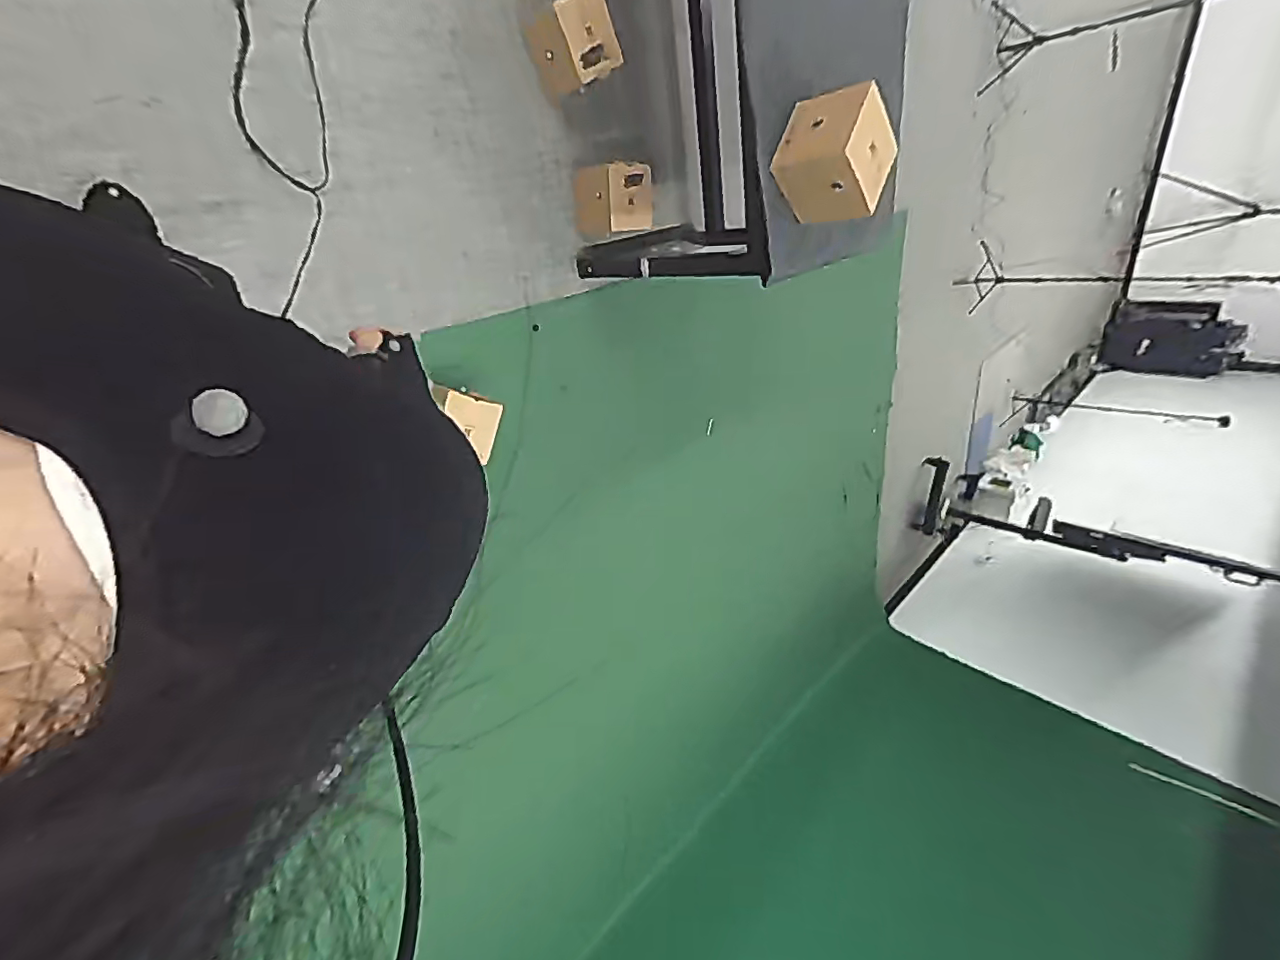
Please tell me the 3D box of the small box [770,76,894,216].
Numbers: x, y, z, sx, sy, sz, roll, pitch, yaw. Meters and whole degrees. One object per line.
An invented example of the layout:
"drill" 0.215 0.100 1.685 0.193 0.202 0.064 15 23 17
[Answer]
"small box" 0.398 -0.677 1.125 0.179 0.176 0.168 30 80 -46

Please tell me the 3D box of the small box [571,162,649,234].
"small box" -0.093 -0.851 1.640 0.168 0.176 0.179 -24 121 -36

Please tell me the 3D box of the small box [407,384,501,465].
"small box" -0.514 -0.154 1.484 0.168 0.176 0.179 13 95 -46
